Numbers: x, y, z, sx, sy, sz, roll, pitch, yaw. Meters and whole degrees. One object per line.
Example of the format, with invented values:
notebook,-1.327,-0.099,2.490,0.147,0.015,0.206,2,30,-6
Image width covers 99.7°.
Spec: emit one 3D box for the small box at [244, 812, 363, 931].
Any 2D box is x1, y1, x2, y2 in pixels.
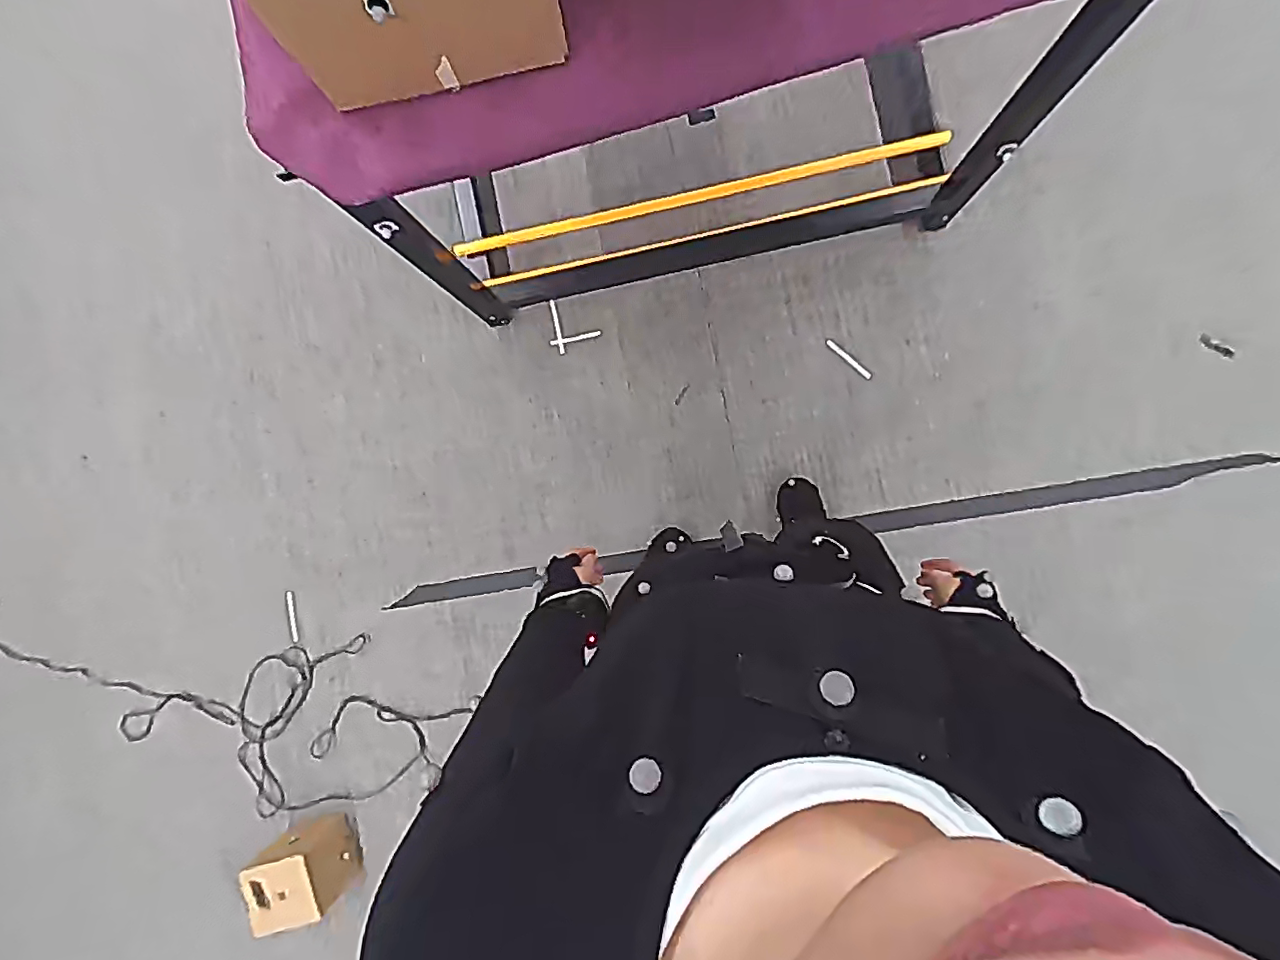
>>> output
small box,-0.856,0.996,1.389,0.179,0.176,0.168,-17,88,5
